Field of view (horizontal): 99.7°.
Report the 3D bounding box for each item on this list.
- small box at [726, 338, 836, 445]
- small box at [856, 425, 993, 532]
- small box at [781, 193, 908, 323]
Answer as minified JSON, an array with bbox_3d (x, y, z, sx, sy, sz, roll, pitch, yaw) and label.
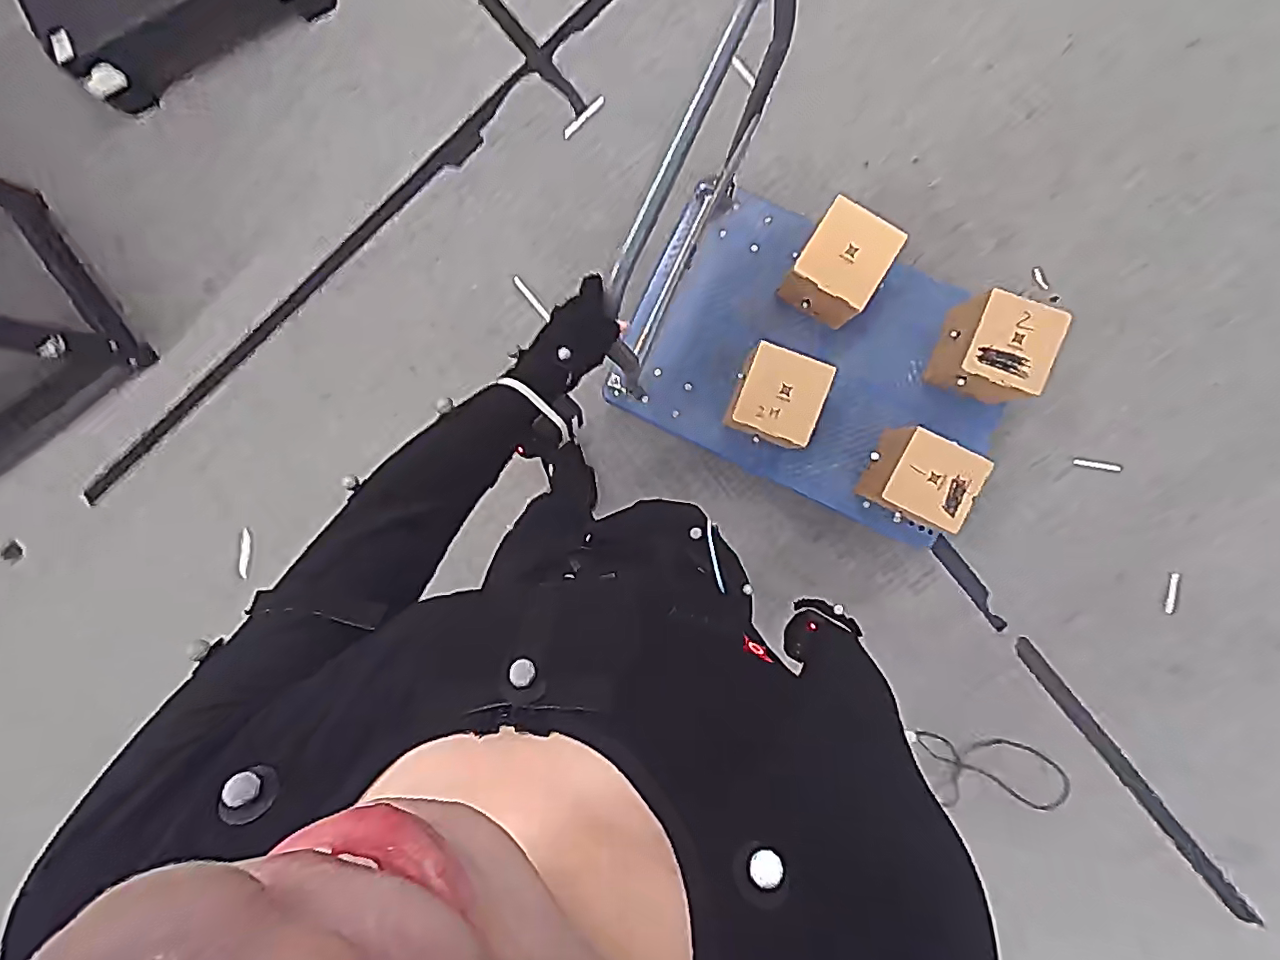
[{"bbox_3d":[0.297,-0.186,1.183,0.168,0.176,0.179,21,94,1],"label":"small box"},{"bbox_3d":[0.609,-0.009,1.182,0.179,0.176,0.168,27,94,1],"label":"small box"},{"bbox_3d":[0.426,-0.465,1.163,0.168,0.176,0.179,31,96,0],"label":"small box"}]
